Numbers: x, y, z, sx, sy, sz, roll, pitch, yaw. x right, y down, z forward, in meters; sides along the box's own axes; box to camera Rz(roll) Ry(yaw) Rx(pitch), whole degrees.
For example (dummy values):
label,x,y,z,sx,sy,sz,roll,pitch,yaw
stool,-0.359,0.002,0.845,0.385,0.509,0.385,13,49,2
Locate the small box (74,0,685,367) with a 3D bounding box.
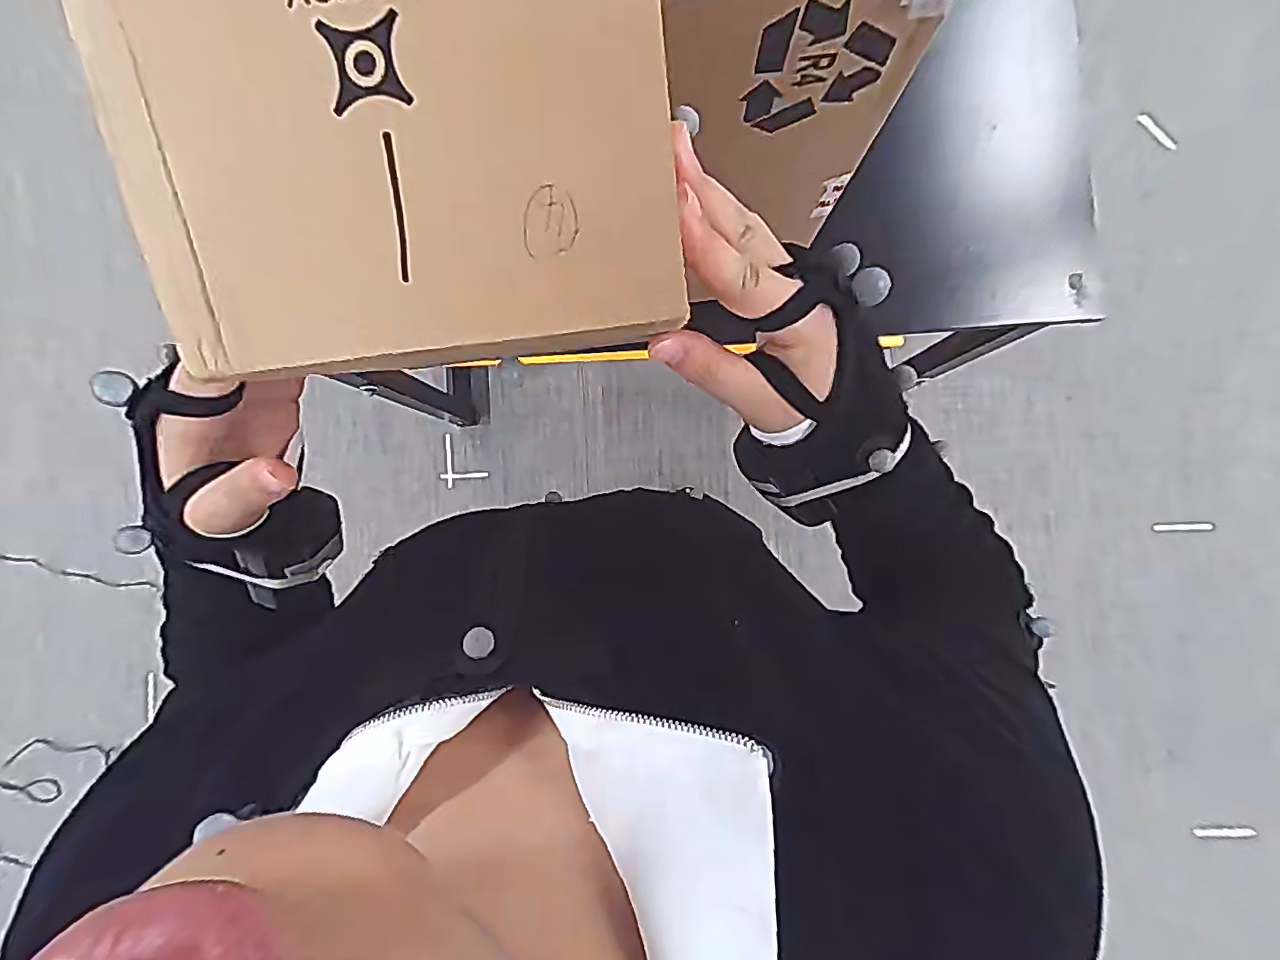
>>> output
label,x,y,z,sx,sy,sz,roll,pitch,yaw
small box,-0.073,-0.145,0.231,0.168,0.176,0.179,-6,103,3
